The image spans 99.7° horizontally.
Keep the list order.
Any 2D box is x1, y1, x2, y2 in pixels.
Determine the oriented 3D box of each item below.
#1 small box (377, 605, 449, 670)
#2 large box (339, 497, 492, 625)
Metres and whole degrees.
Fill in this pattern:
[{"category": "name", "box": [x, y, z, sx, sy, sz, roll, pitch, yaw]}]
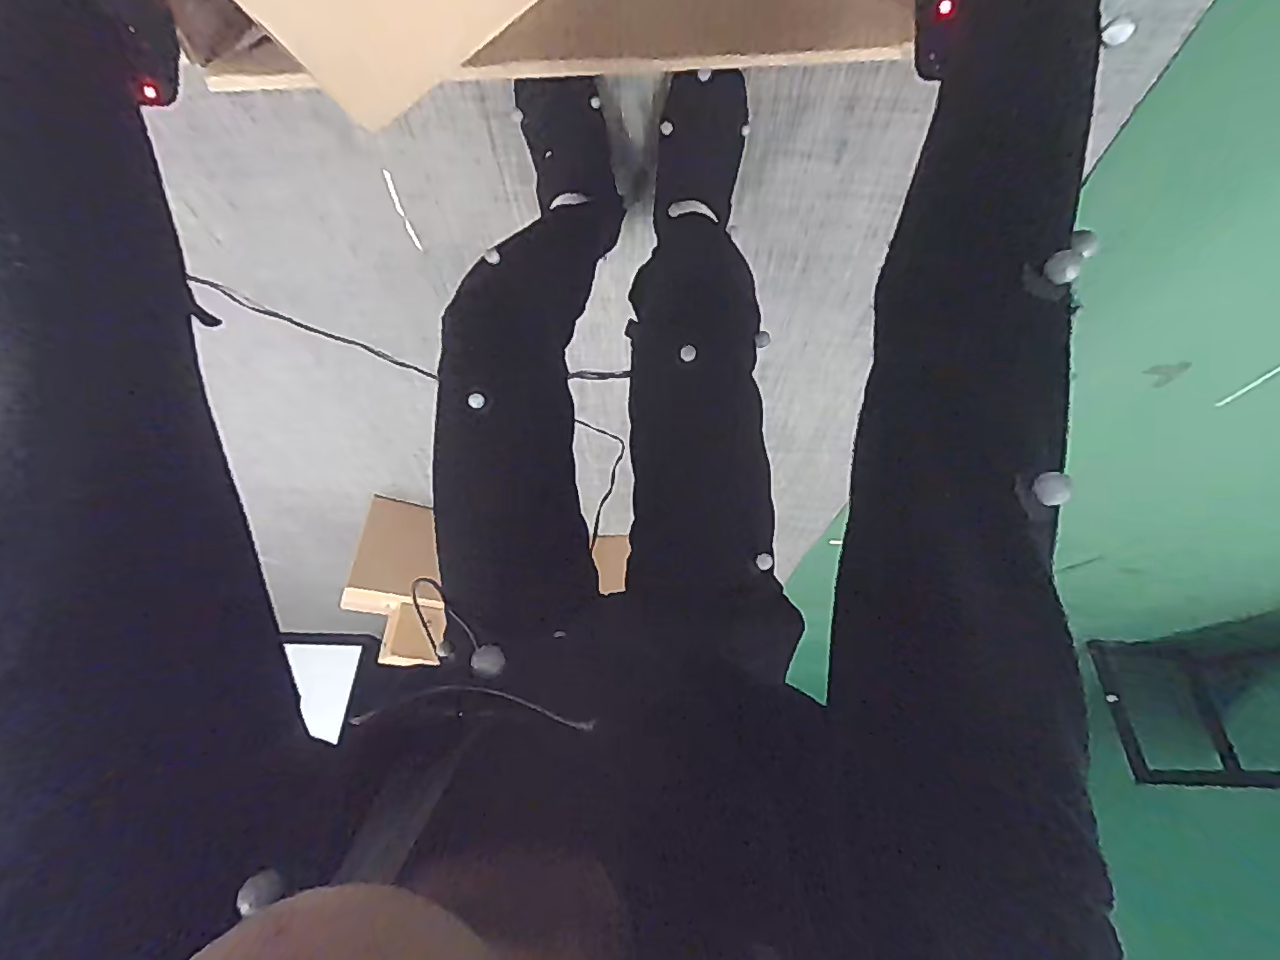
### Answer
[{"category": "small box", "box": [-0.745, 0.521, 1.781, 0.168, 0.176, 0.179, 19, 148, -28]}, {"category": "large box", "box": [-0.770, 0.292, 1.872, 0.408, 0.320, 0.320, 18, 148, -24]}]
